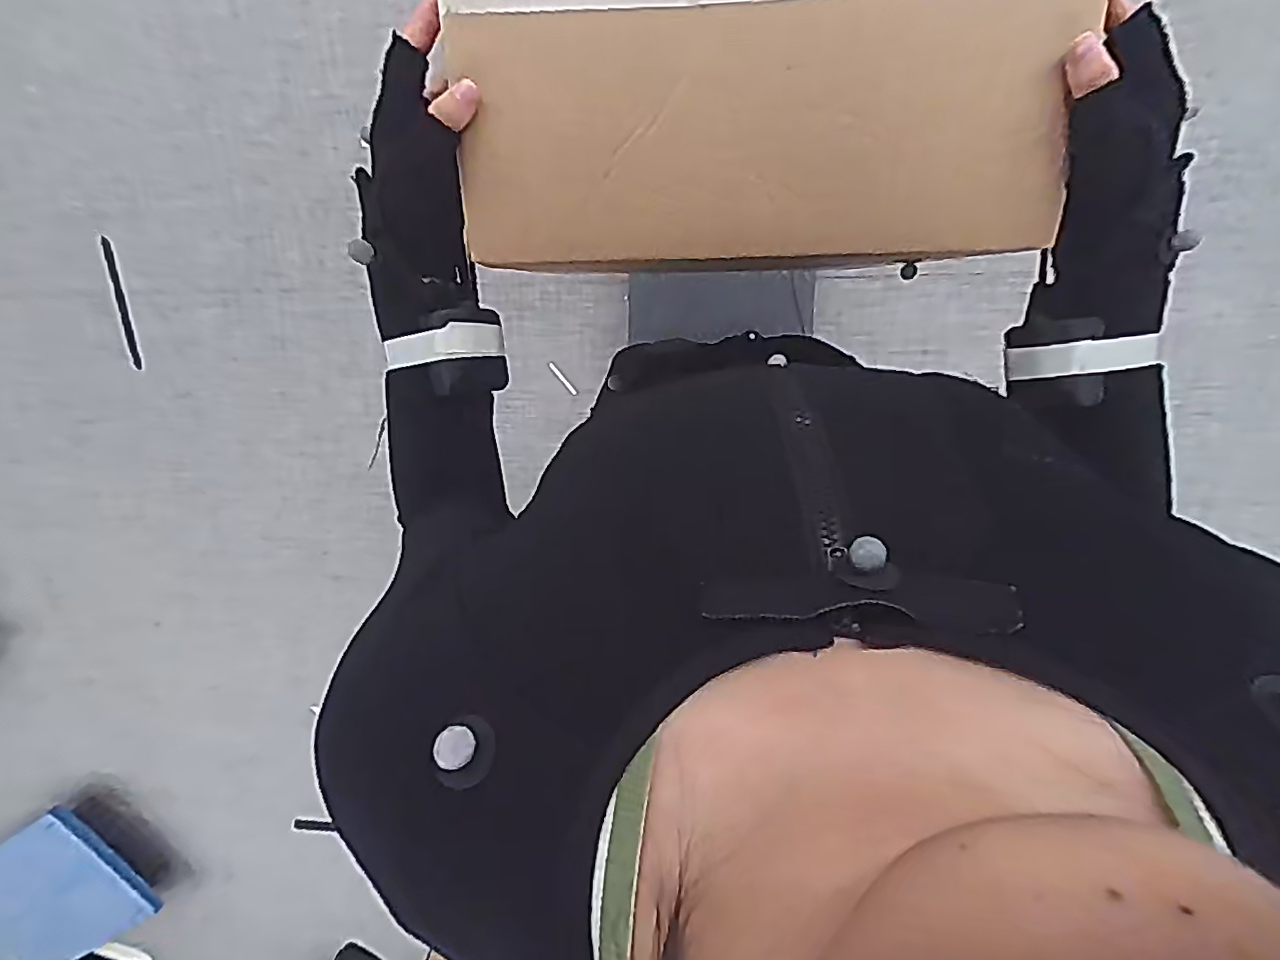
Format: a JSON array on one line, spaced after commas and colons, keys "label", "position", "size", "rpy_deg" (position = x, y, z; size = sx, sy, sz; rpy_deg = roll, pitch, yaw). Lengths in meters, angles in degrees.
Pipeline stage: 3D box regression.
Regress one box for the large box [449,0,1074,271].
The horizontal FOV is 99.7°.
[{"label": "large box", "position": [0.081, -0.359, 0.481], "size": [0.408, 0.320, 0.320], "rpy_deg": [-1, 109, 3]}]
